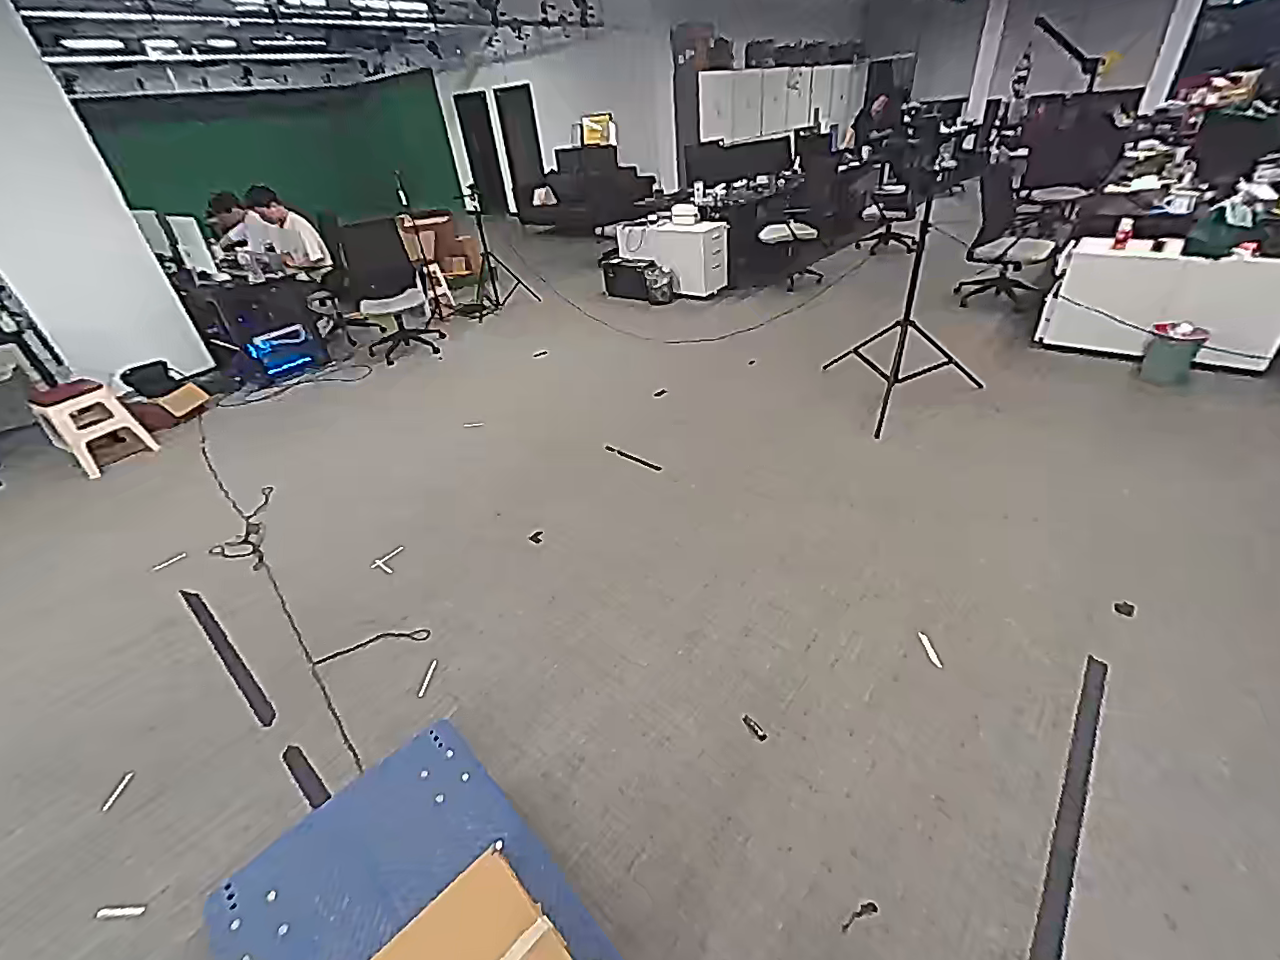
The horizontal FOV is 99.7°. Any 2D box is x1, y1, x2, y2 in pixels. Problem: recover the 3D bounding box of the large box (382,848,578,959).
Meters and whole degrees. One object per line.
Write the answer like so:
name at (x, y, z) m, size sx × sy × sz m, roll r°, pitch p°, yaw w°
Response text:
large box at (-0.279, 0.922, 0.852) m, size 0.408 × 0.320 × 0.320 m, roll -32°, pitch 47°, yaw -33°
